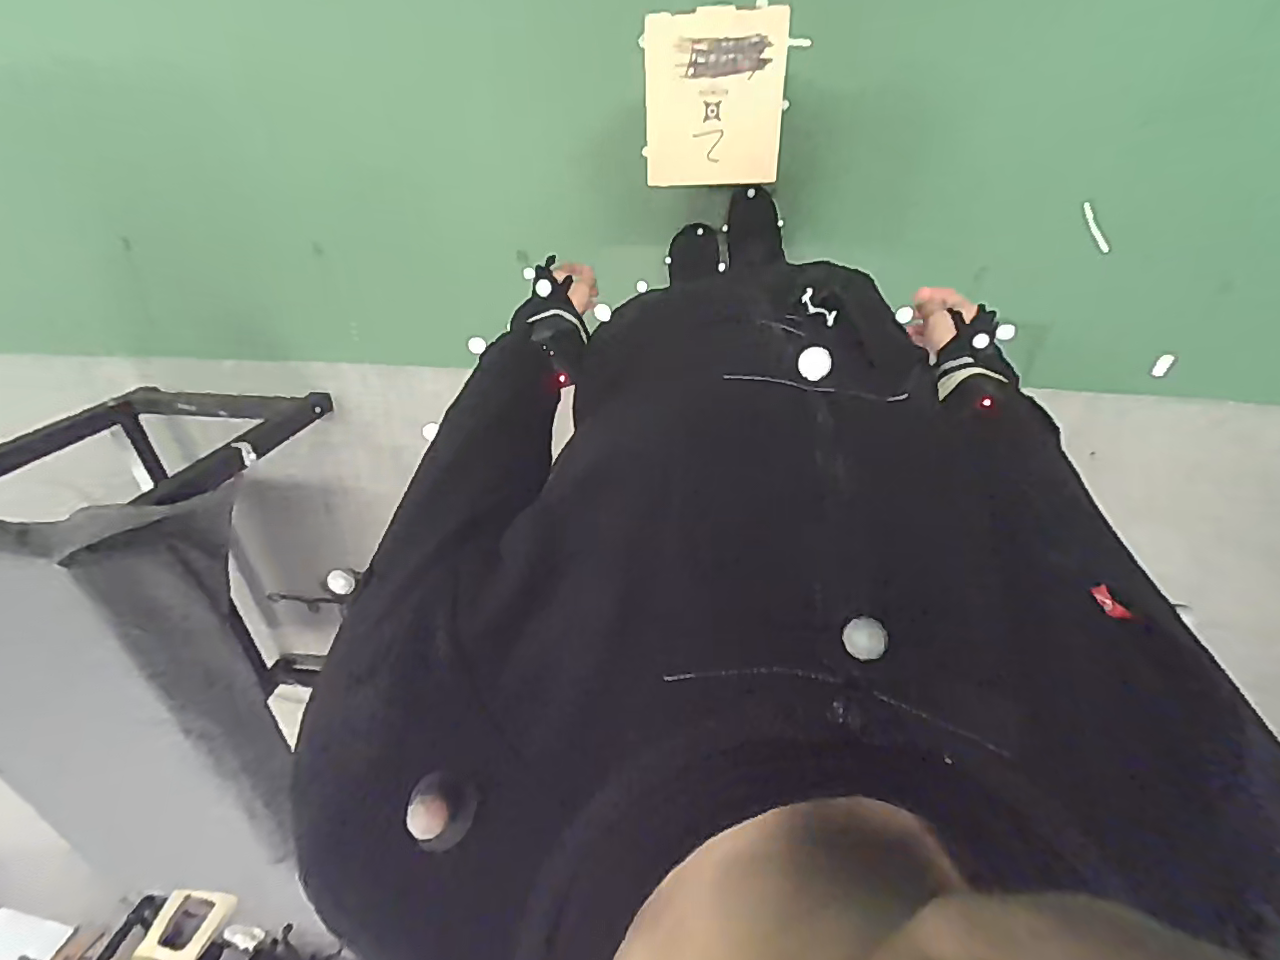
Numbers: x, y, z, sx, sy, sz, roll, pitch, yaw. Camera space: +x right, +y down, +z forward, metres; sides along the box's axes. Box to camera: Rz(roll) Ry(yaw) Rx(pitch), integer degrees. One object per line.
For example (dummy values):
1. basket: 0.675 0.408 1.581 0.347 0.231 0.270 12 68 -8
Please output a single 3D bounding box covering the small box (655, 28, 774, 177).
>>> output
1. small box: 0.114 -0.584 0.854 0.168 0.176 0.179 2 120 7
